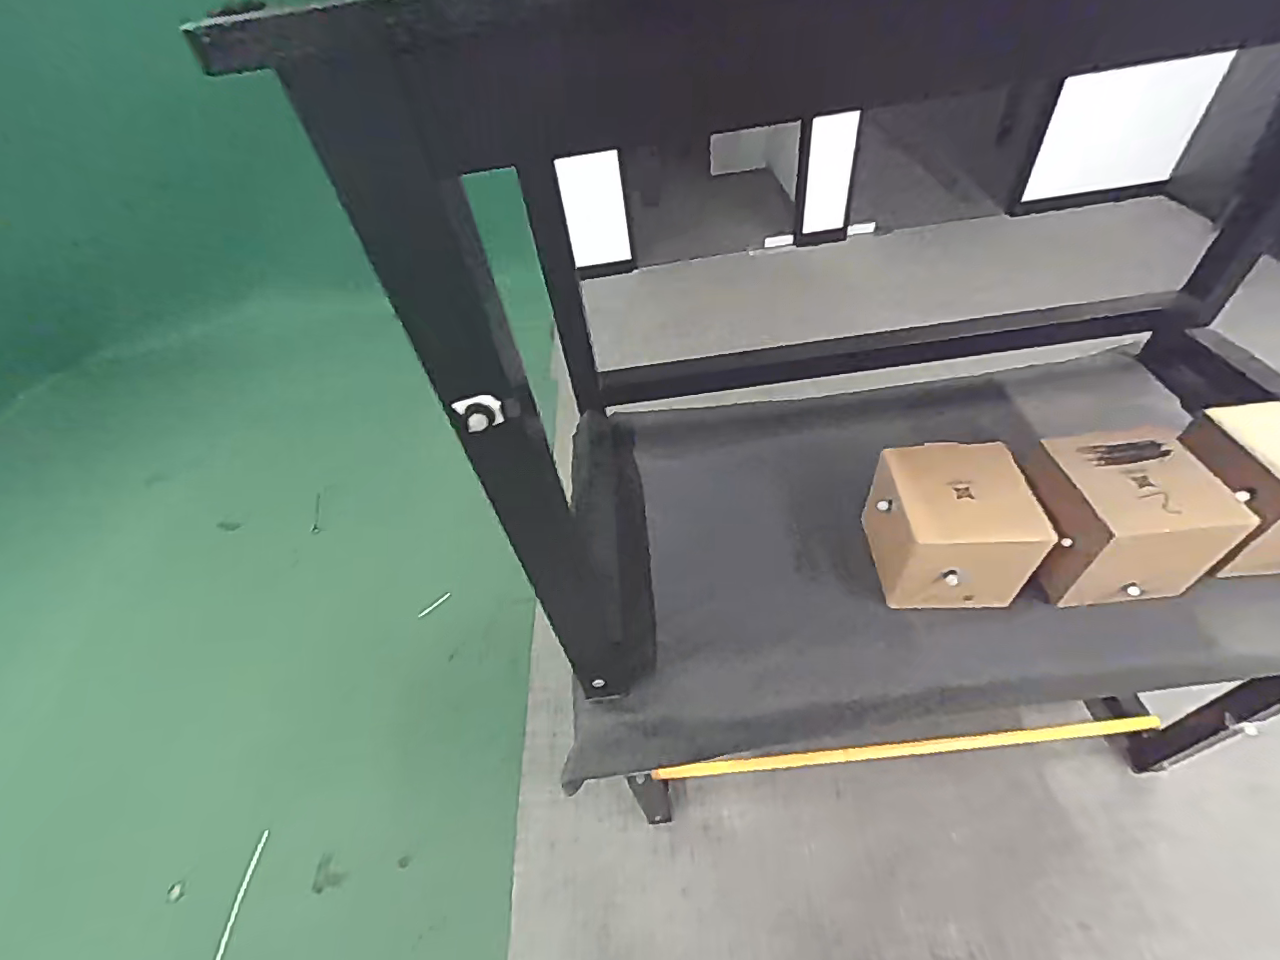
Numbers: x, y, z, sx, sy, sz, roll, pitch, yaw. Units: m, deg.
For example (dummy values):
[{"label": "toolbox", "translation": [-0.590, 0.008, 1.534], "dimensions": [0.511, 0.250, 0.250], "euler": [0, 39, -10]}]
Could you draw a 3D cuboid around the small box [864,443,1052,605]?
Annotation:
[{"label": "small box", "translation": [0.439, 0.070, 0.783], "dimensions": [0.168, 0.176, 0.179], "euler": [-3, 47, 7]}]

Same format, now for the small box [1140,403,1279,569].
[{"label": "small box", "translation": [0.876, 0.012, 0.757], "dimensions": [0.168, 0.176, 0.179], "euler": [-5, 46, 5]}]
